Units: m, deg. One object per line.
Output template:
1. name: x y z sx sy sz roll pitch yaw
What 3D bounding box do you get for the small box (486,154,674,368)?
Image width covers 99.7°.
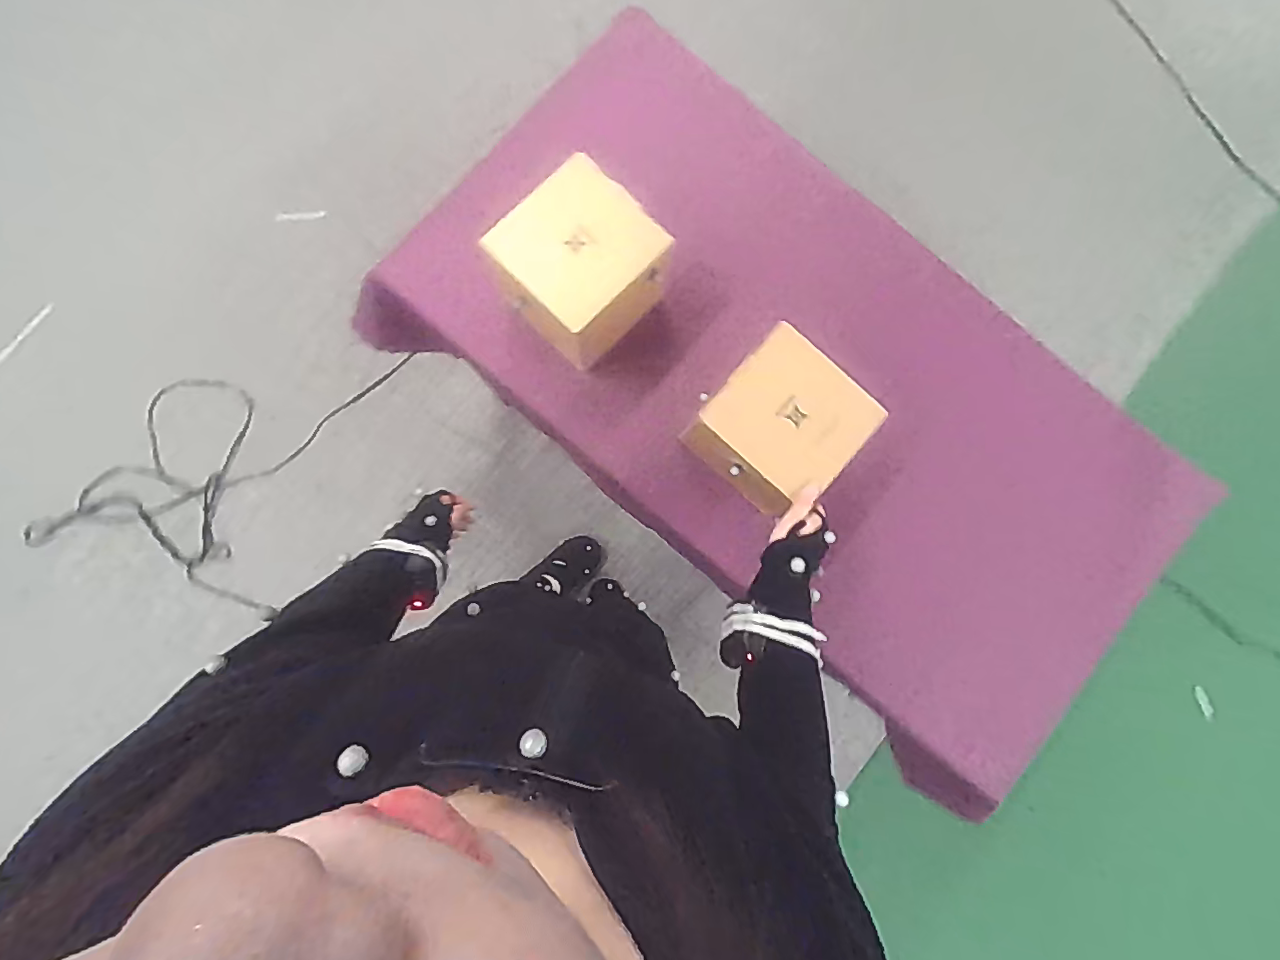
1. small box: -0.075 -0.282 0.740 0.168 0.176 0.179 45 83 2

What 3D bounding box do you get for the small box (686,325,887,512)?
1. small box: 0.181 -0.068 0.732 0.179 0.176 0.168 44 84 1
